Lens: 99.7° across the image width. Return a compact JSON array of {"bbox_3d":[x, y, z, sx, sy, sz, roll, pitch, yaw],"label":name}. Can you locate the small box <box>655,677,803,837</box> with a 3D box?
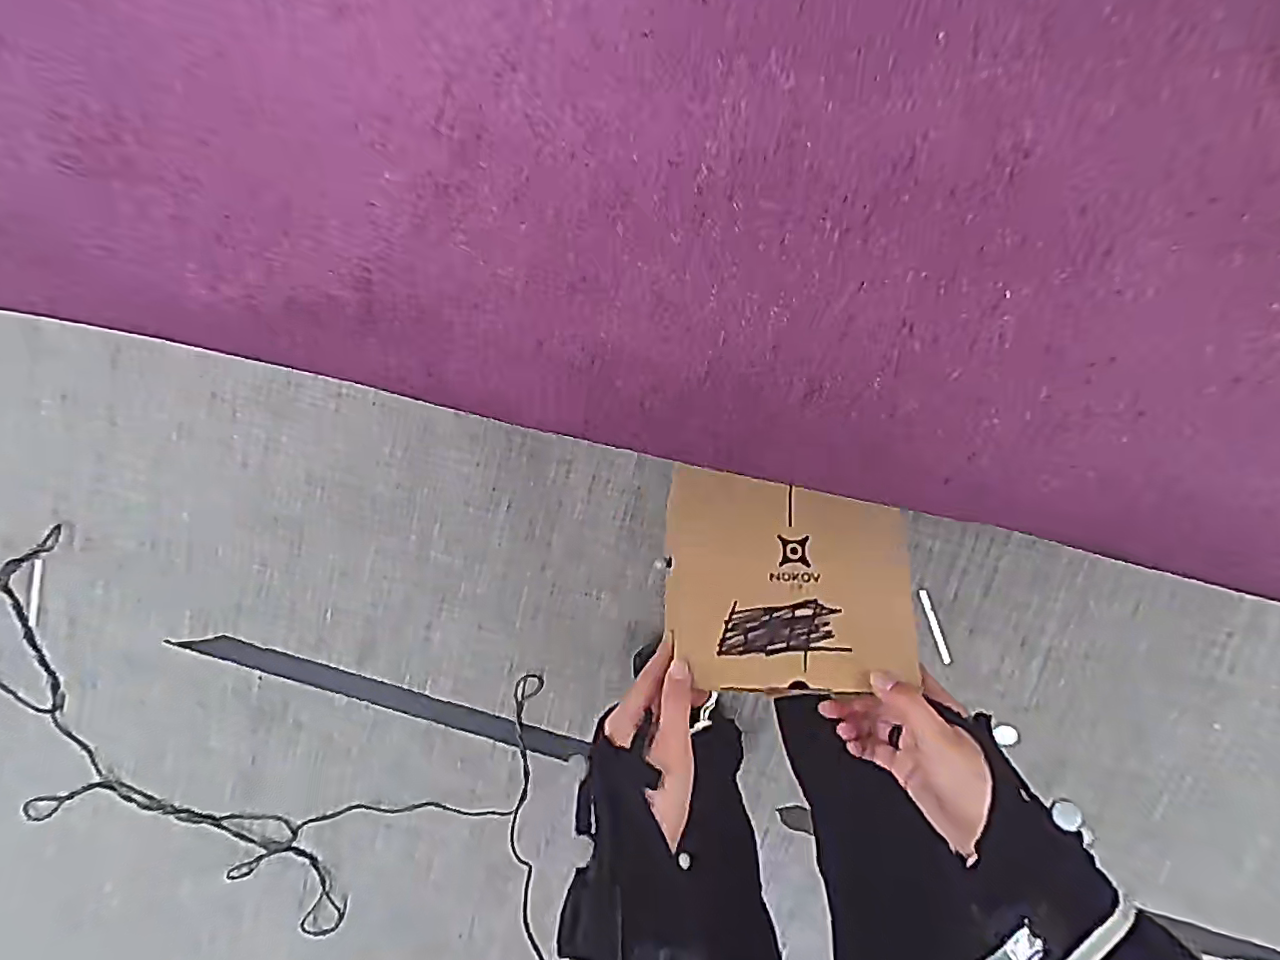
[{"bbox_3d":[0.132,0.422,0.861,0.179,0.176,0.168,-22,91,3],"label":"small box"}]

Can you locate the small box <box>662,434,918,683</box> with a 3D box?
[{"bbox_3d":[0.107,0.074,0.462,0.168,0.176,0.179,2,71,-1],"label":"small box"}]
